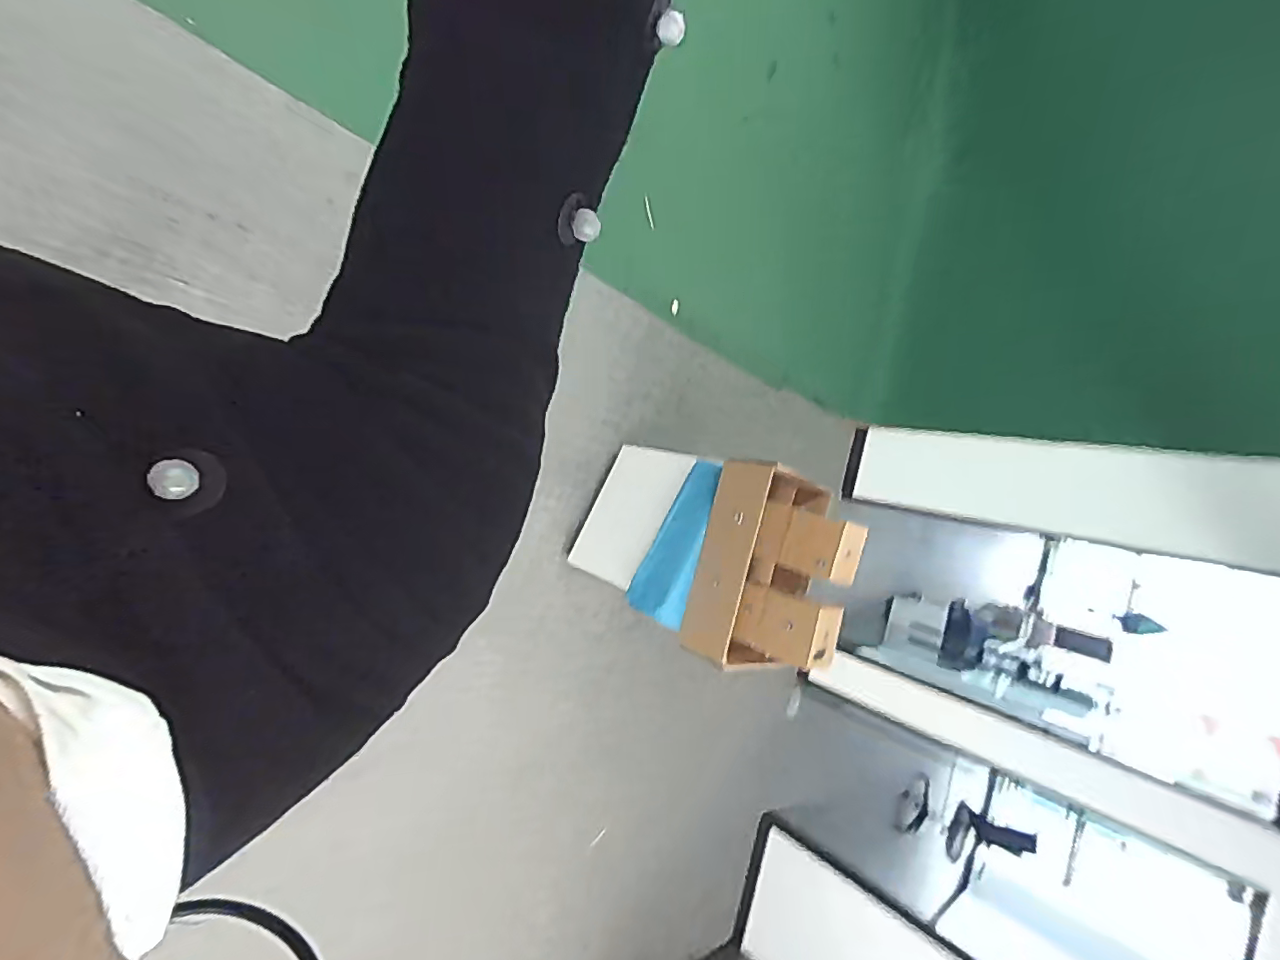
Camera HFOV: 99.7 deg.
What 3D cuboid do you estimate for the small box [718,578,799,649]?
[{"bbox_3d":[0.365,0.412,1.677,0.168,0.176,0.179,18,85,-45],"label":"small box"}]

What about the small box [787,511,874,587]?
[{"bbox_3d":[0.556,0.201,1.587,0.168,0.176,0.179,17,90,-45],"label":"small box"}]

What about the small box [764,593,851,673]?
[{"bbox_3d":[0.480,0.438,1.562,0.168,0.176,0.179,17,86,-45],"label":"small box"}]
